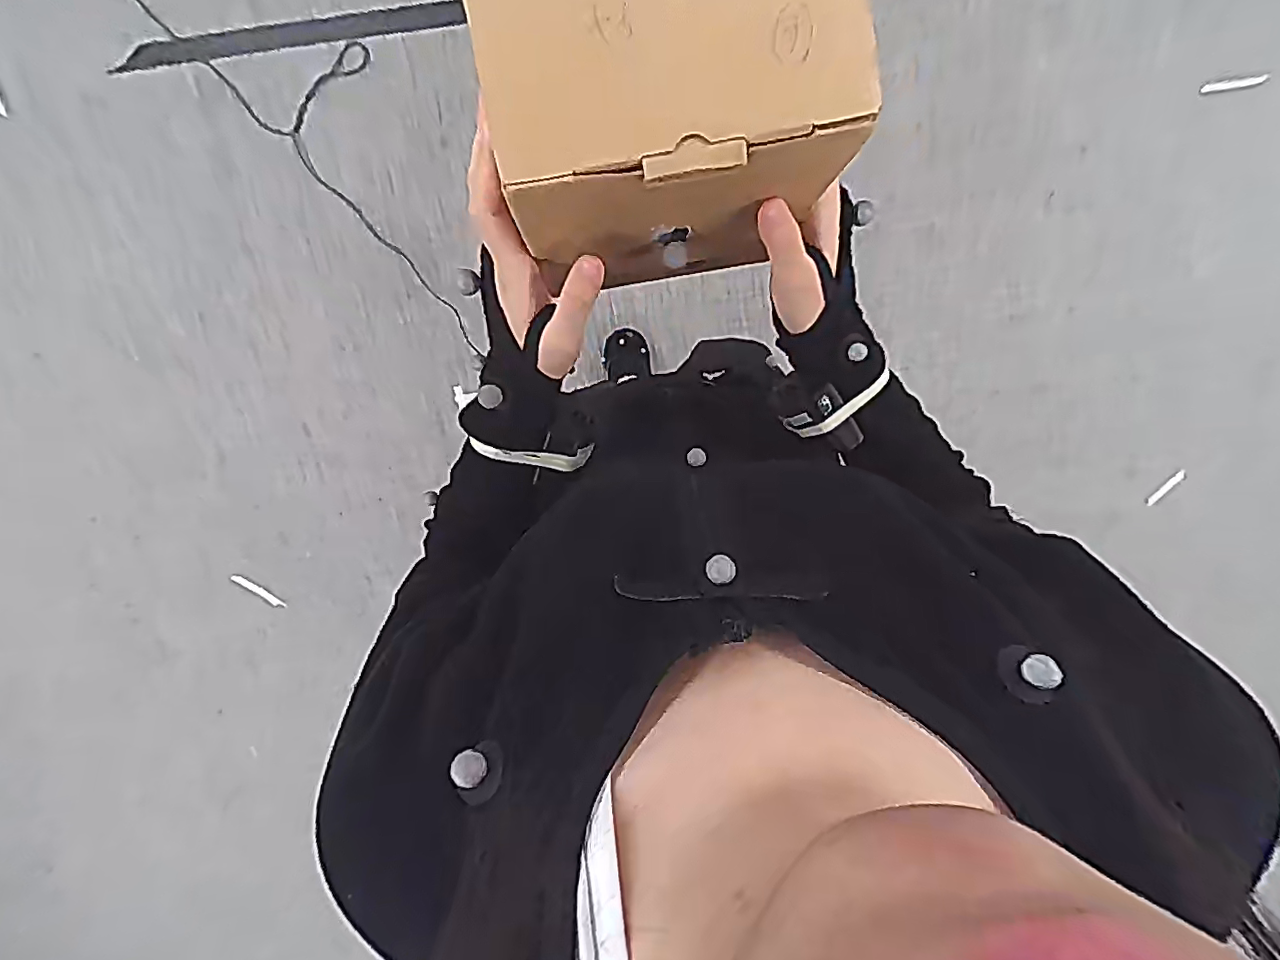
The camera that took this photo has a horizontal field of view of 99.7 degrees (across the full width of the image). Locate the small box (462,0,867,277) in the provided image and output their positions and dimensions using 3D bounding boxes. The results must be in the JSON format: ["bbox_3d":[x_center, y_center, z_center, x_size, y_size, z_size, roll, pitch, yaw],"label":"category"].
[{"bbox_3d":[0.002,-0.228,0.304,0.168,0.176,0.179,-10,94,-1],"label":"small box"}]
